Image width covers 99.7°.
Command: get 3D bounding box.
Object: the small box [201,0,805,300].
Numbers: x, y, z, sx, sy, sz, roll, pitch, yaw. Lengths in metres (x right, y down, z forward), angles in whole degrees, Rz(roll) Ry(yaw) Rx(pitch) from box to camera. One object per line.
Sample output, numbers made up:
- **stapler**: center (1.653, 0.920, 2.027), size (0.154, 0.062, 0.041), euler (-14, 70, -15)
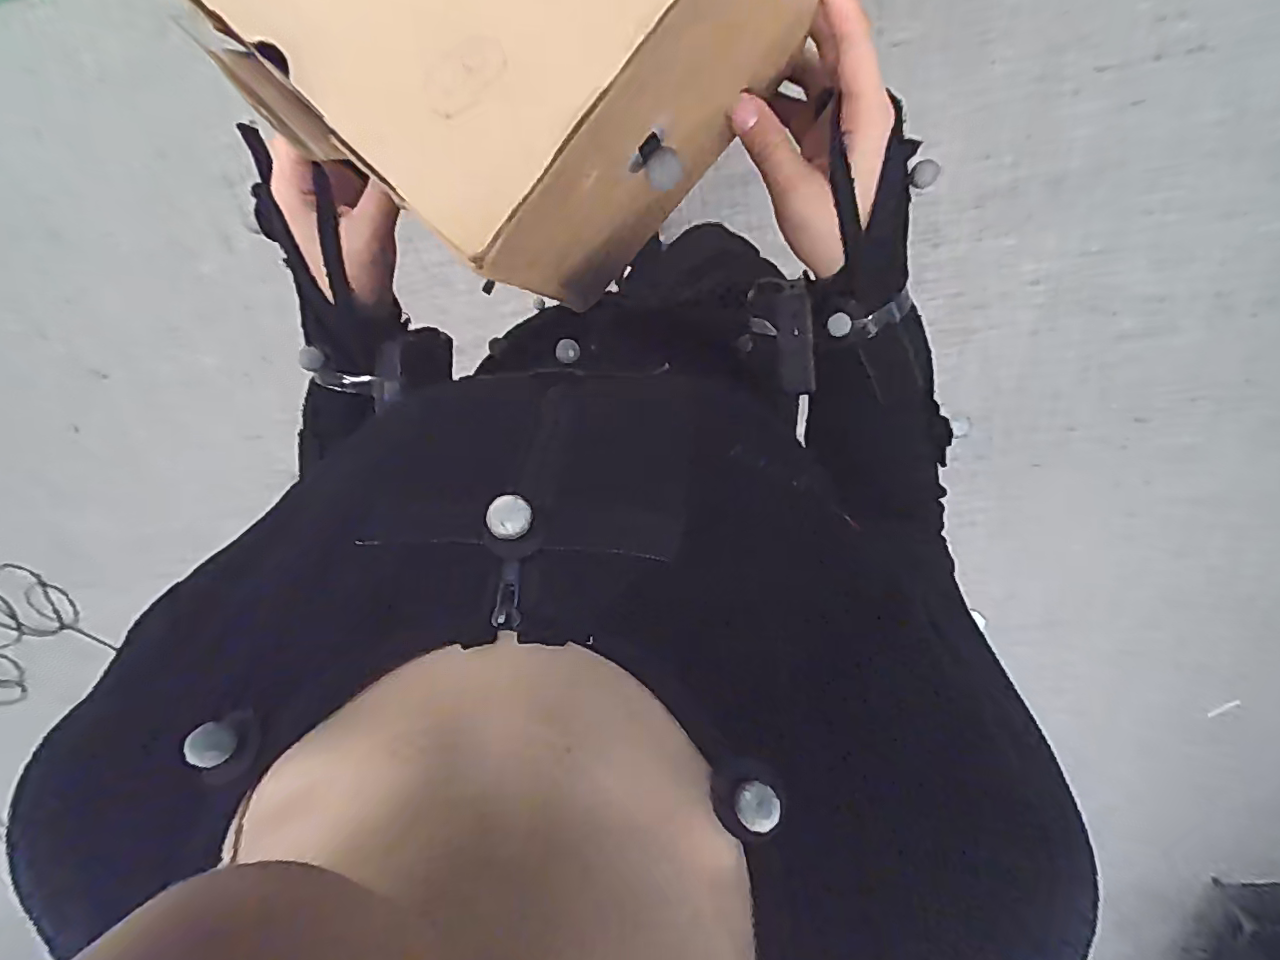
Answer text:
- **small box**: center (-0.039, -0.201, 0.234), size (0.168, 0.176, 0.179), euler (43, 104, -5)
